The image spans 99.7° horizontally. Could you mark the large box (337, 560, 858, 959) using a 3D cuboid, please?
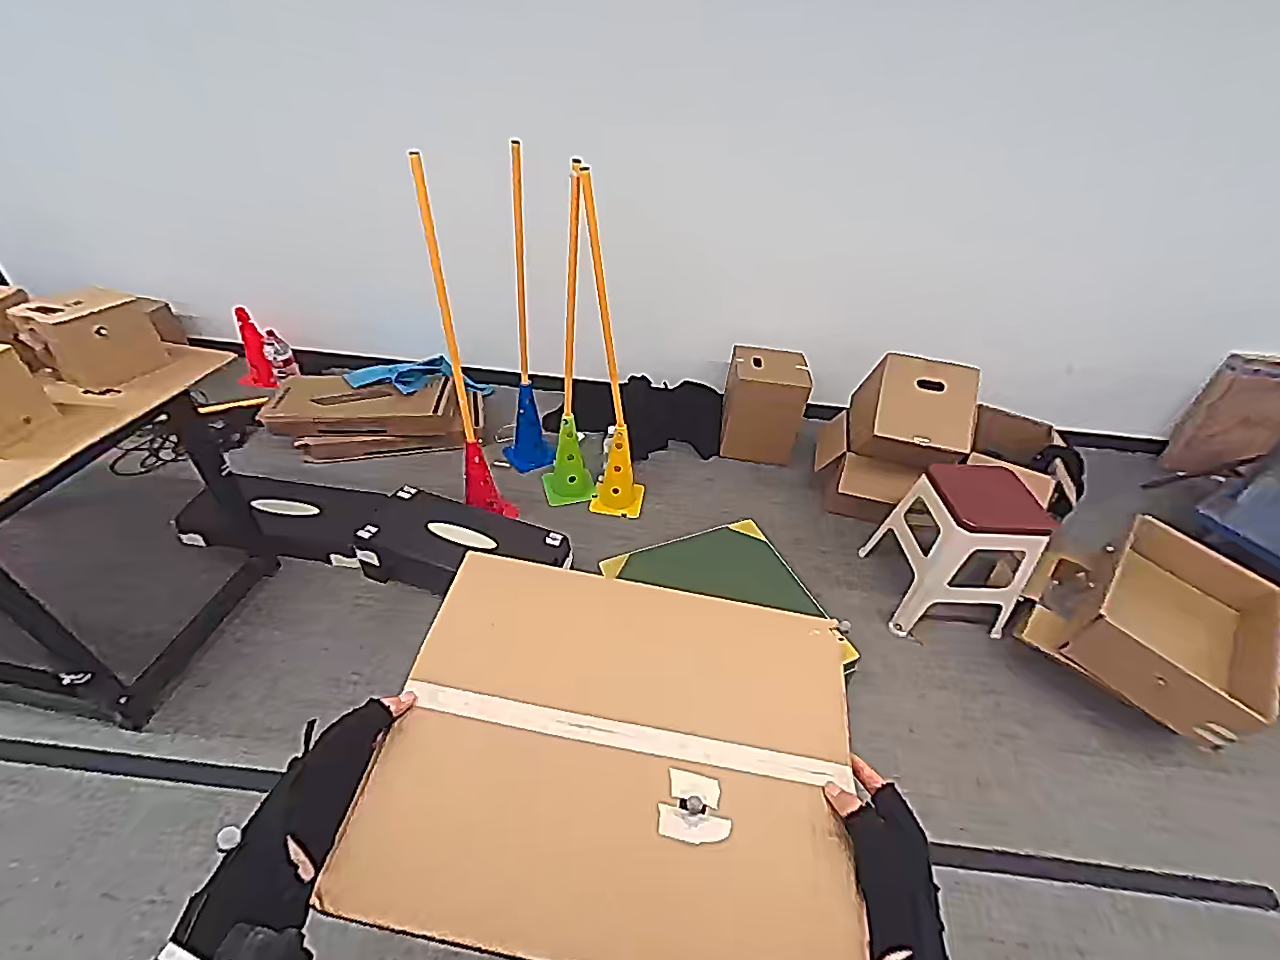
[{"bbox_3d":[-0.028,0.331,0.607,0.408,0.320,0.320,11,49,2],"label":"large box"}]
